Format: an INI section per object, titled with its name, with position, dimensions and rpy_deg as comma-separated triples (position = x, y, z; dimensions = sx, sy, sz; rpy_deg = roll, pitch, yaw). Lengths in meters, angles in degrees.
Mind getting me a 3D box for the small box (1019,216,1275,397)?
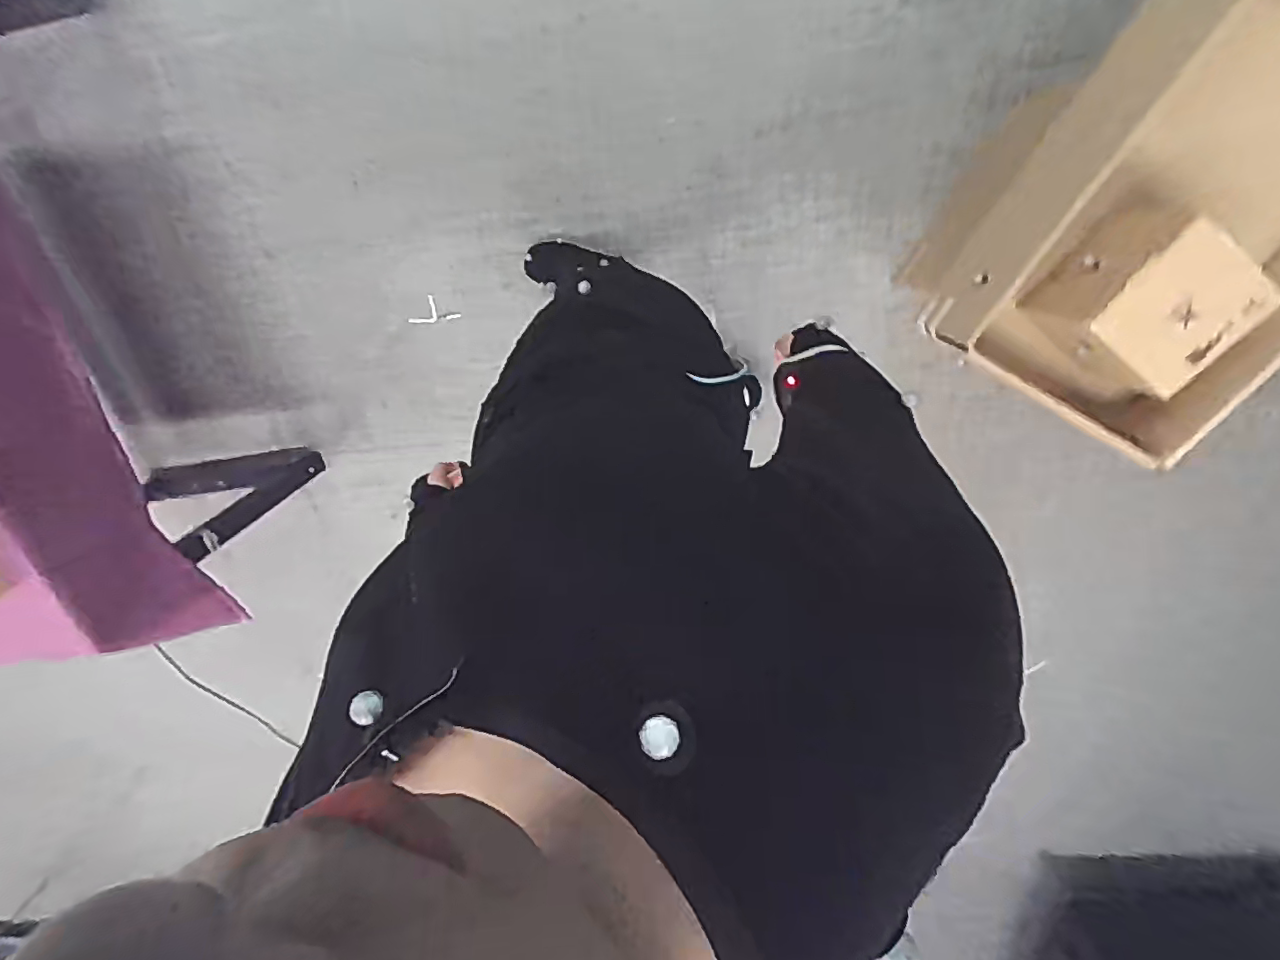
[small box]
position = 0.708, -0.252, 0.781
dimensions = 0.179, 0.176, 0.168
rpy_deg = 33, 113, -11
